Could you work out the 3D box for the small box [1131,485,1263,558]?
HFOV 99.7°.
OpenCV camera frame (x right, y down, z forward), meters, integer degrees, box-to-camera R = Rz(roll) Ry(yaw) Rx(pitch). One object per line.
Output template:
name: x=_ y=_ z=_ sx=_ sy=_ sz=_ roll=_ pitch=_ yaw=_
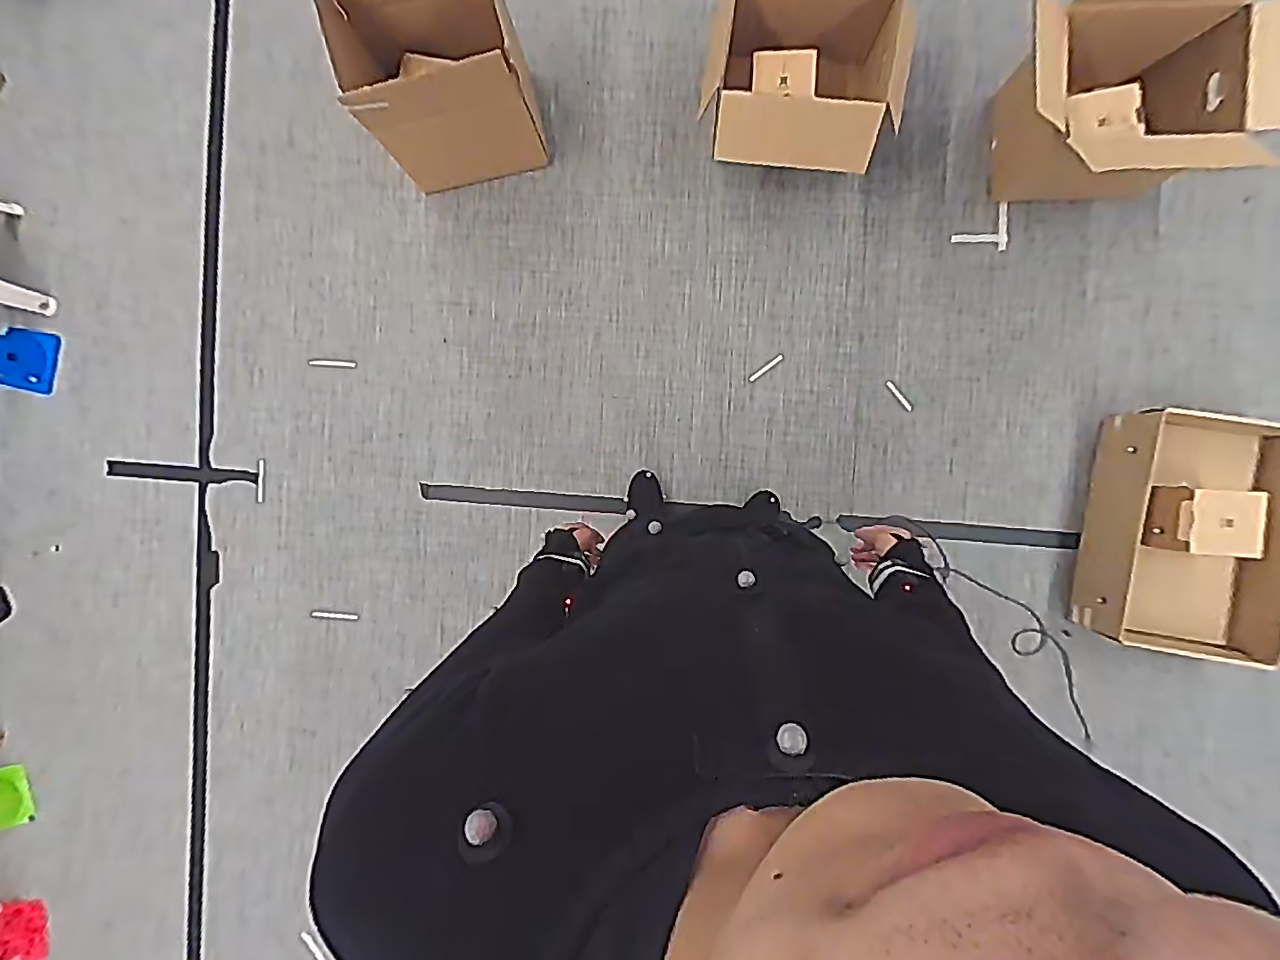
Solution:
small box: x=1.450 y=0.103 z=1.420 sx=0.179 sy=0.176 sz=0.168 roll=4 pitch=93 yaw=4
